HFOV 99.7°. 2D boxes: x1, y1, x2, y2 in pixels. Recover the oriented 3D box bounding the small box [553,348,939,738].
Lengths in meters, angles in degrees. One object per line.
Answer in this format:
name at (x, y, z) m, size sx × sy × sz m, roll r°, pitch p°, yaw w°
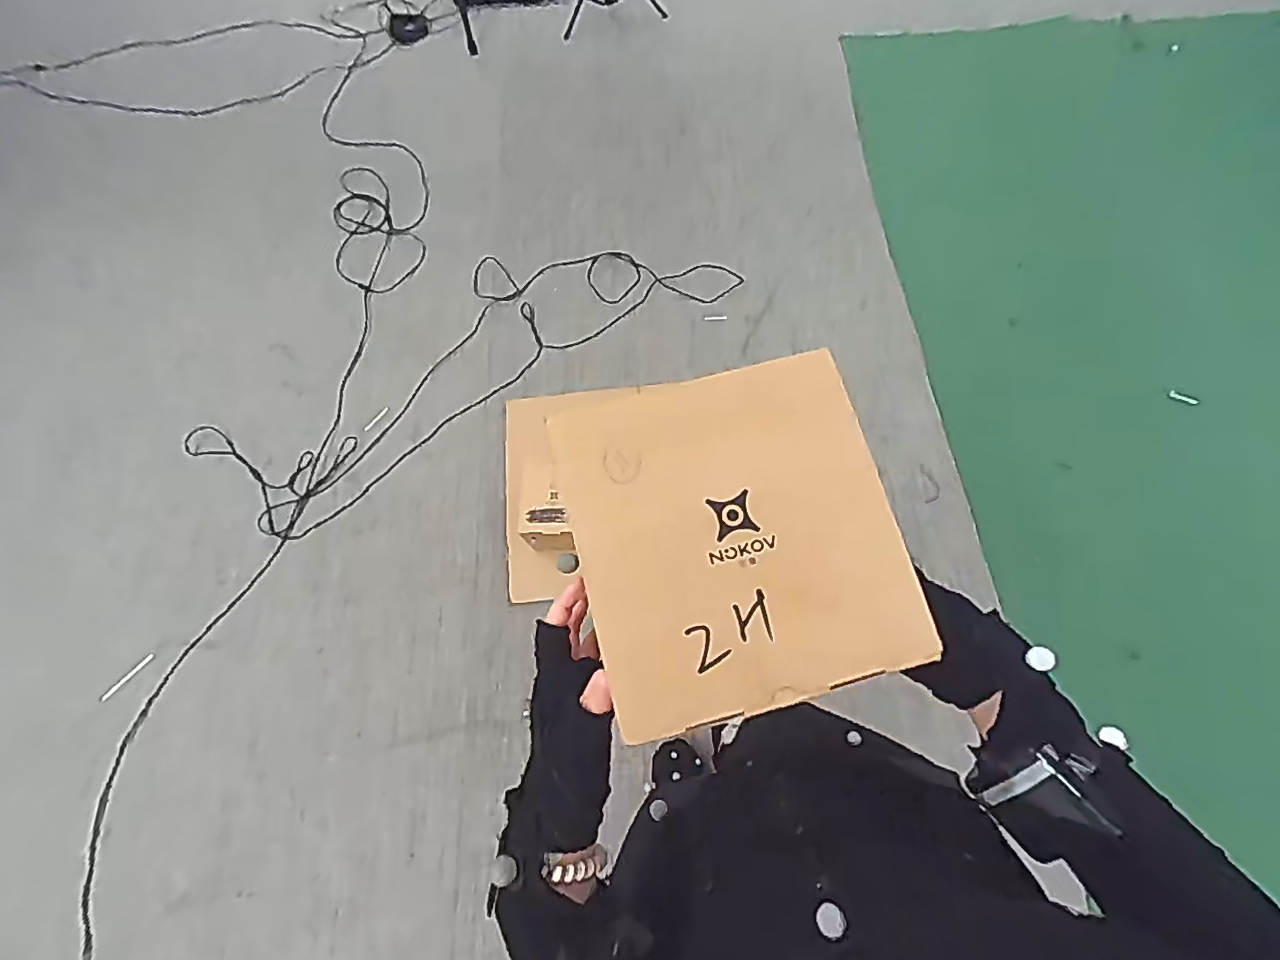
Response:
small box at (0.049, 0.043, 0.360) m, size 0.168 × 0.176 × 0.179 m, roll -15°, pitch 78°, yaw -3°
